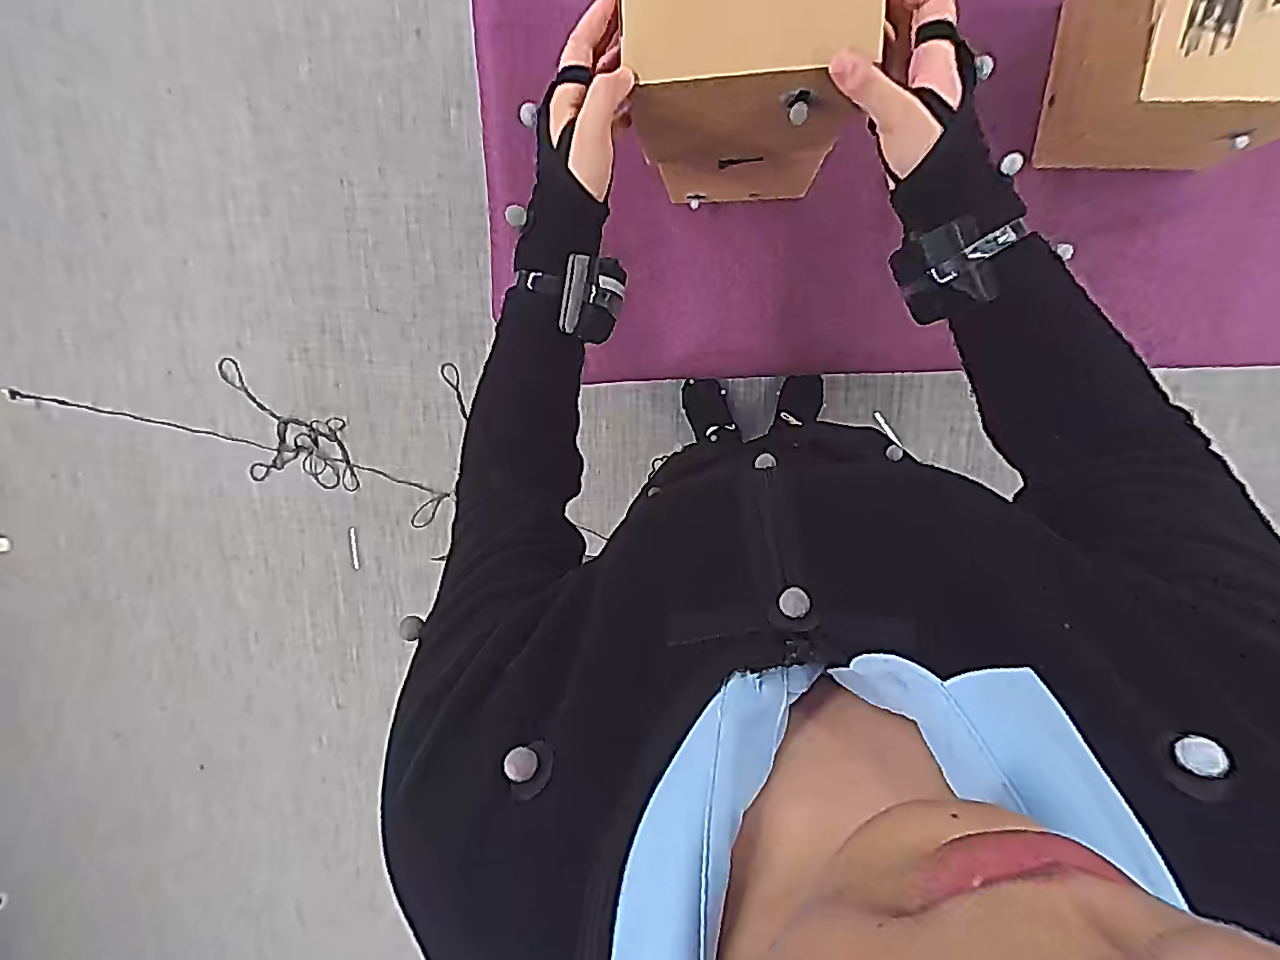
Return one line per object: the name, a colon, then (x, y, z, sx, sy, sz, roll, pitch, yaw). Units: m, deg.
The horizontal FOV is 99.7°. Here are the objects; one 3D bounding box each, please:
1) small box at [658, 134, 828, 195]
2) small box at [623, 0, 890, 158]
small box: (0.108, -0.417, 0.577, 0.168, 0.176, 0.179, 1, 103, 8)
small box: (0.083, -0.371, 0.421, 0.179, 0.176, 0.168, 1, 103, 8)
